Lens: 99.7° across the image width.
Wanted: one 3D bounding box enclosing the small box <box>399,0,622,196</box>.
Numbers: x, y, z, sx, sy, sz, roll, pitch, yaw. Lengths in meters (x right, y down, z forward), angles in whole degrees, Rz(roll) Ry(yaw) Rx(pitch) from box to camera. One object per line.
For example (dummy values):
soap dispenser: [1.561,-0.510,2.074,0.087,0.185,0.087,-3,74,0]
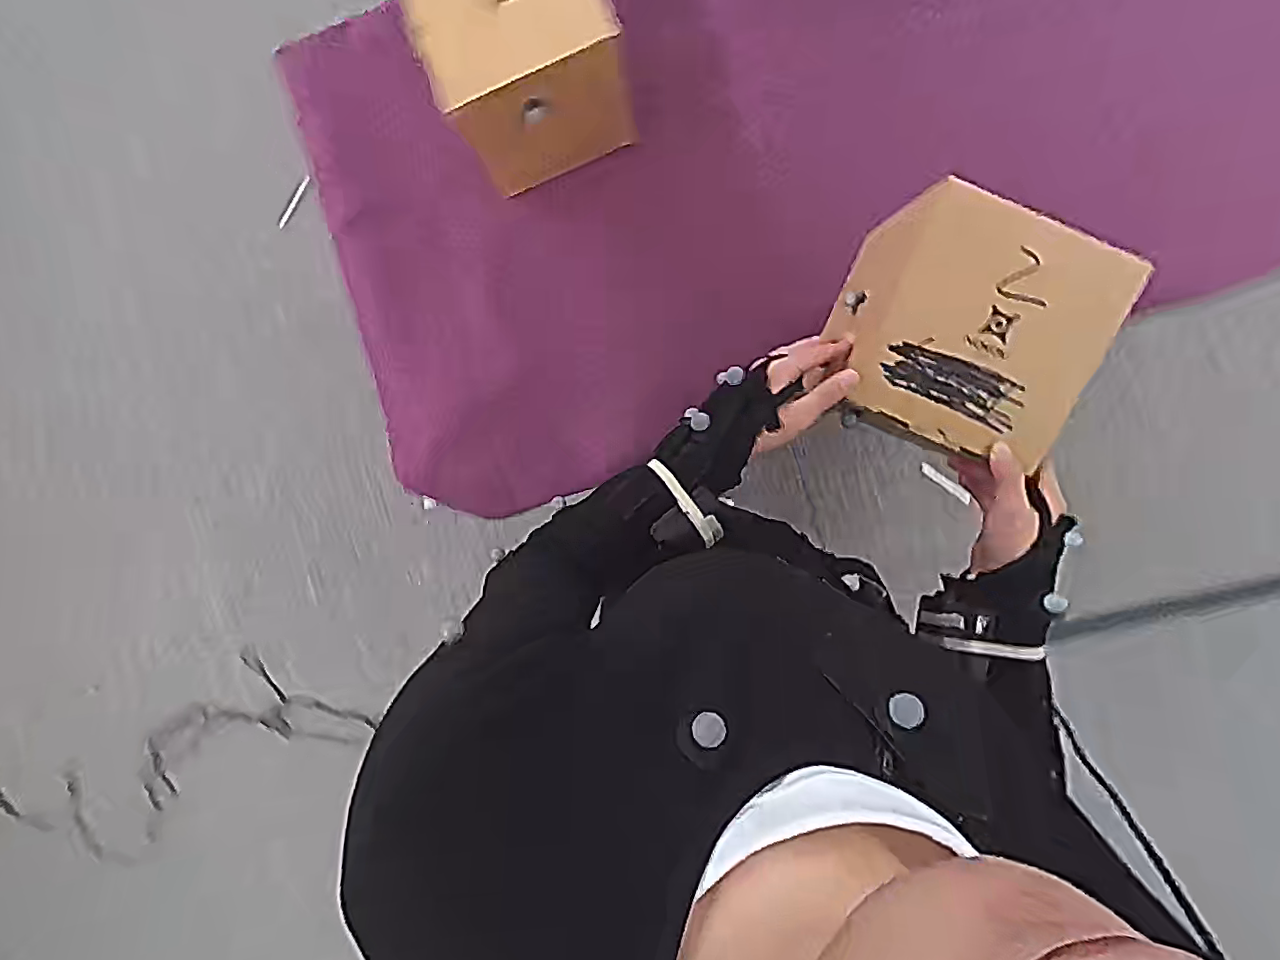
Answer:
small box: [-0.127,-0.450,0.585,0.179,0.176,0.168,-21,90,6]
